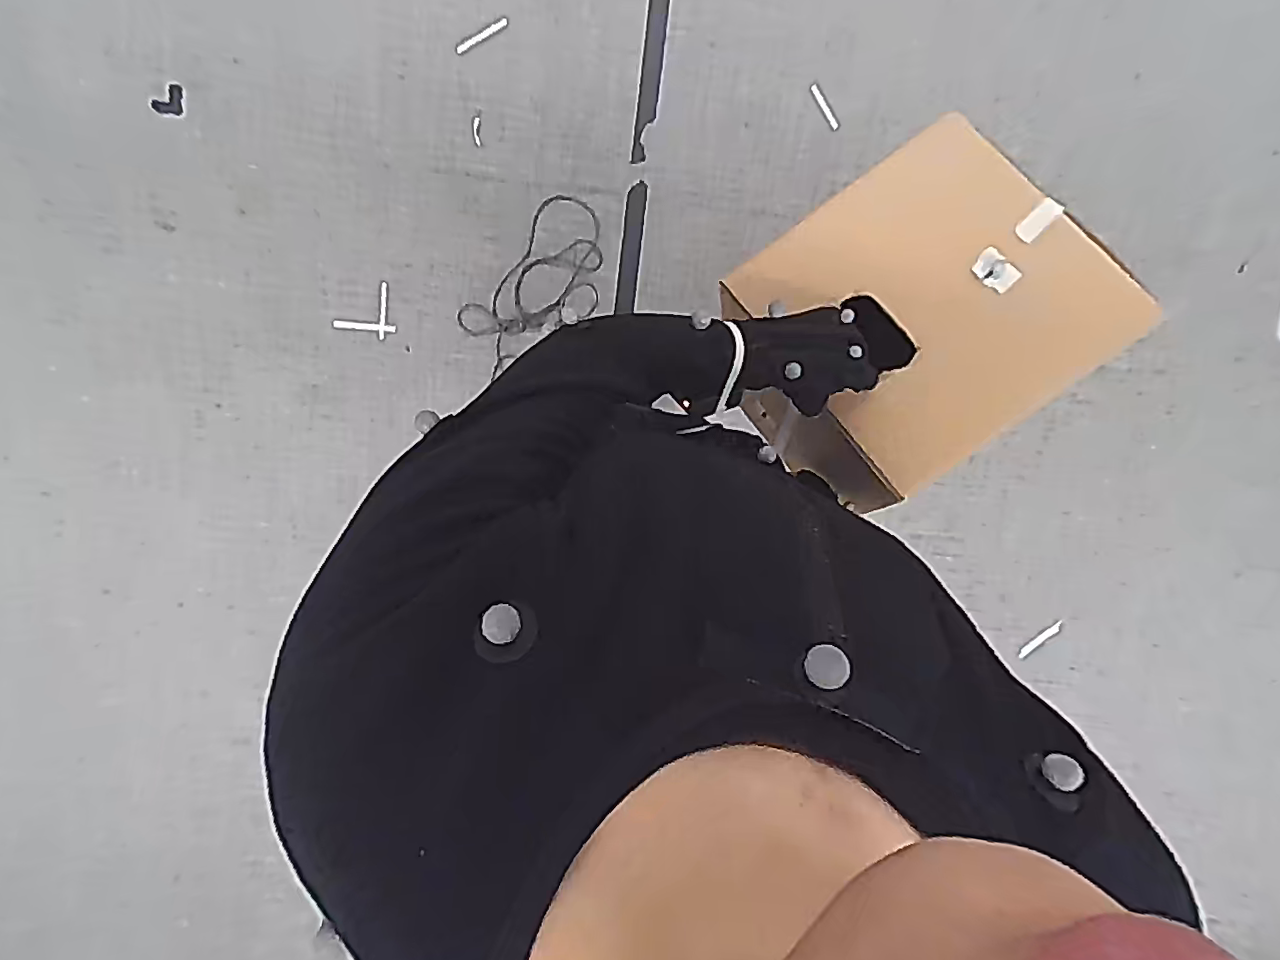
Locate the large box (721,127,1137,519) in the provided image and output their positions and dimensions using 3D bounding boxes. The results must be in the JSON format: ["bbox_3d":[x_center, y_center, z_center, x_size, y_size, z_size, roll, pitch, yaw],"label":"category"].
[{"bbox_3d":[0.338,-0.169,0.770,0.320,0.408,0.320,-36,77,5],"label":"large box"}]
